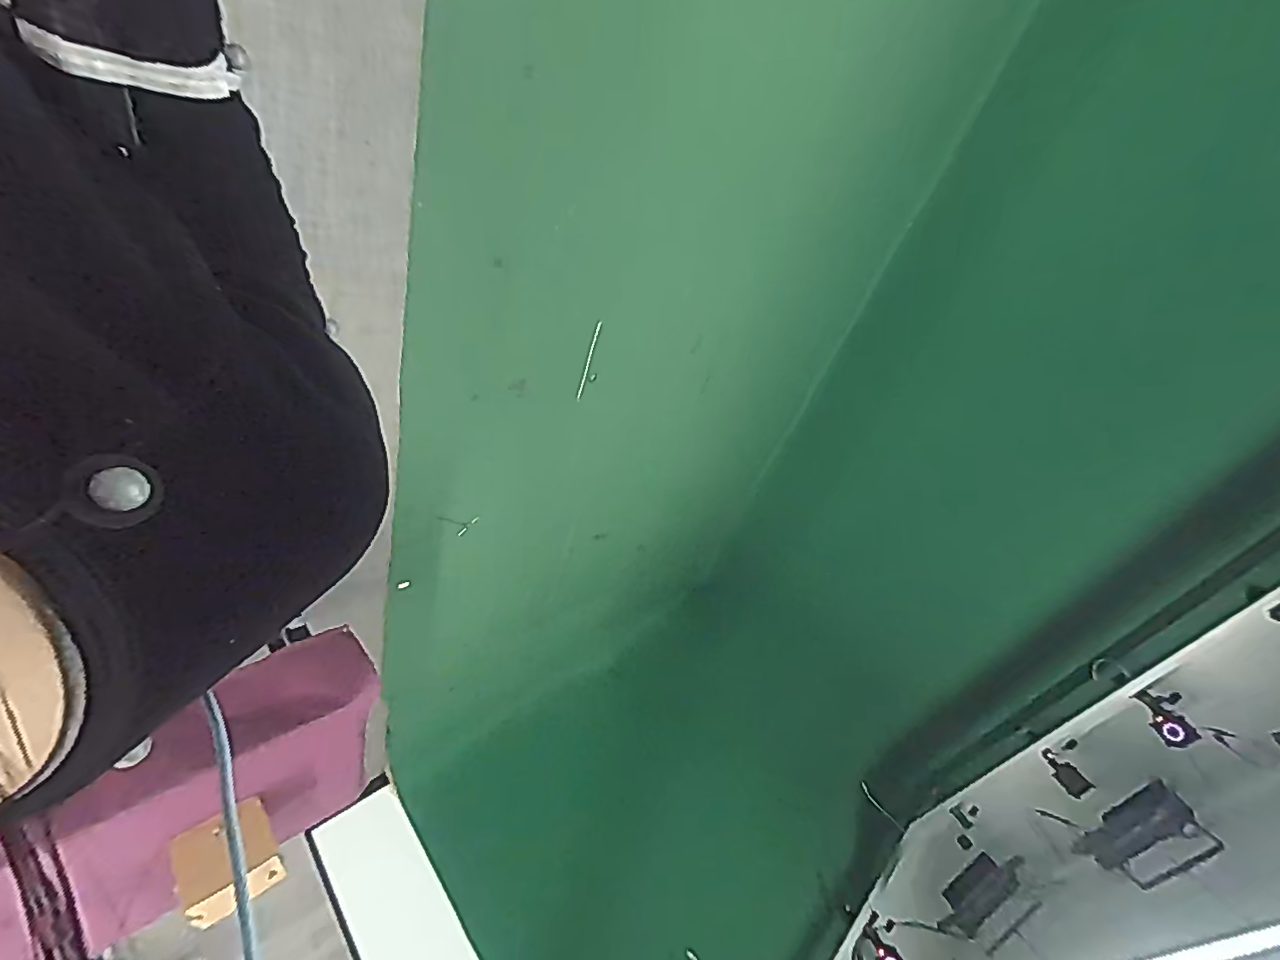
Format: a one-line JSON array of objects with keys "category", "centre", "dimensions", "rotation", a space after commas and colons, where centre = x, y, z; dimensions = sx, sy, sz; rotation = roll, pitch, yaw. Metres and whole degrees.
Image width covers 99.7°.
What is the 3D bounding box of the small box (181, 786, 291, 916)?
[{"category": "small box", "centre": [-0.982, 0.895, 1.314], "dimensions": [0.179, 0.176, 0.168], "rotation": [-20, 143, -39]}]
